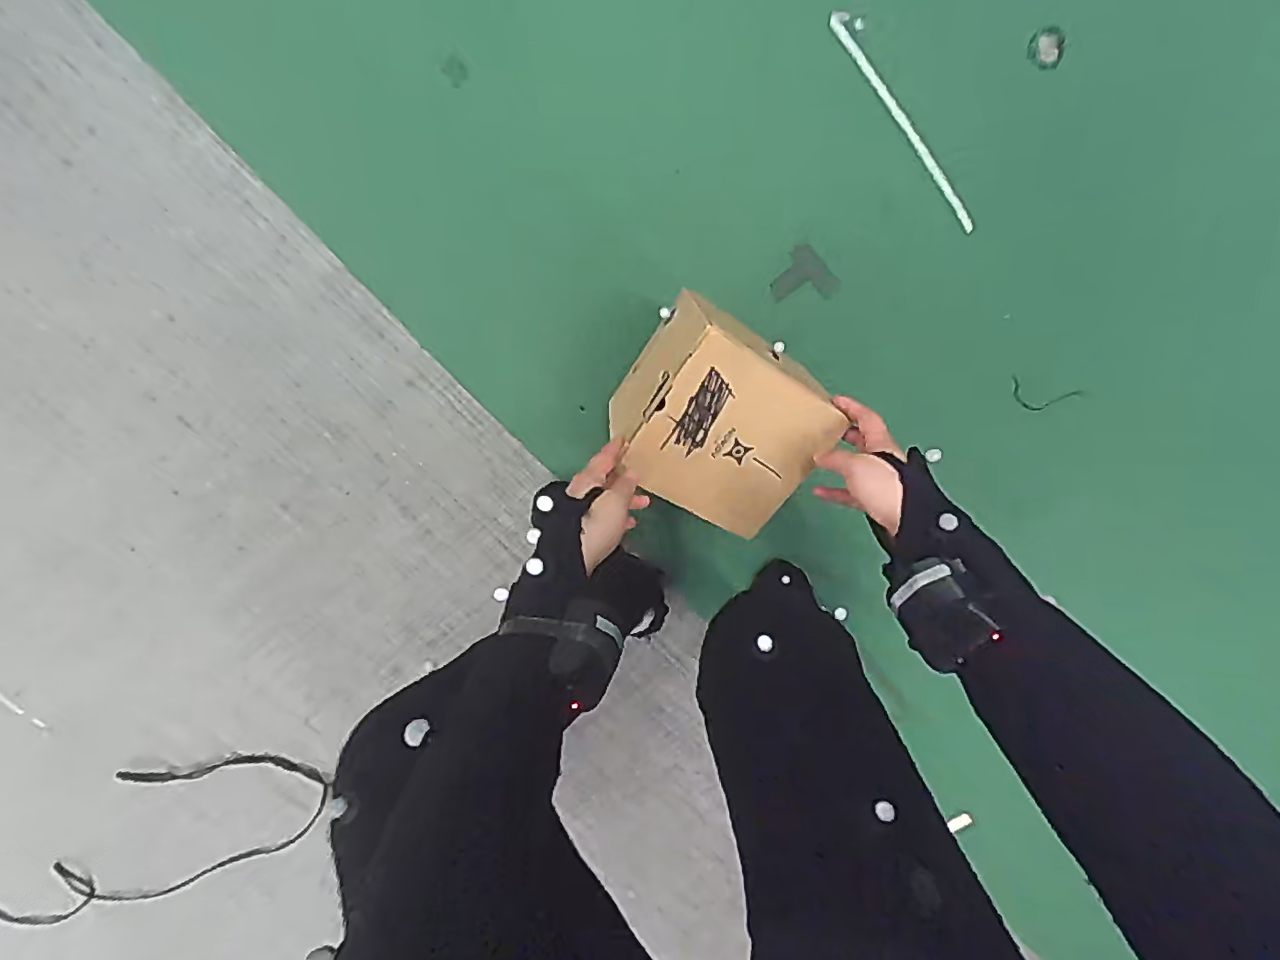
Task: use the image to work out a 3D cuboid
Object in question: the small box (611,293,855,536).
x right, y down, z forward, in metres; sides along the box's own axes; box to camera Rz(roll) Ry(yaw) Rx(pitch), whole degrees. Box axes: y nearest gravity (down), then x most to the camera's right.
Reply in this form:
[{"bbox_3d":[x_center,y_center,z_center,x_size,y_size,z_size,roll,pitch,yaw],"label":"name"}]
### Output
[{"bbox_3d":[0.081,-0.078,0.574,0.179,0.176,0.168,27,116,-20],"label":"small box"}]
